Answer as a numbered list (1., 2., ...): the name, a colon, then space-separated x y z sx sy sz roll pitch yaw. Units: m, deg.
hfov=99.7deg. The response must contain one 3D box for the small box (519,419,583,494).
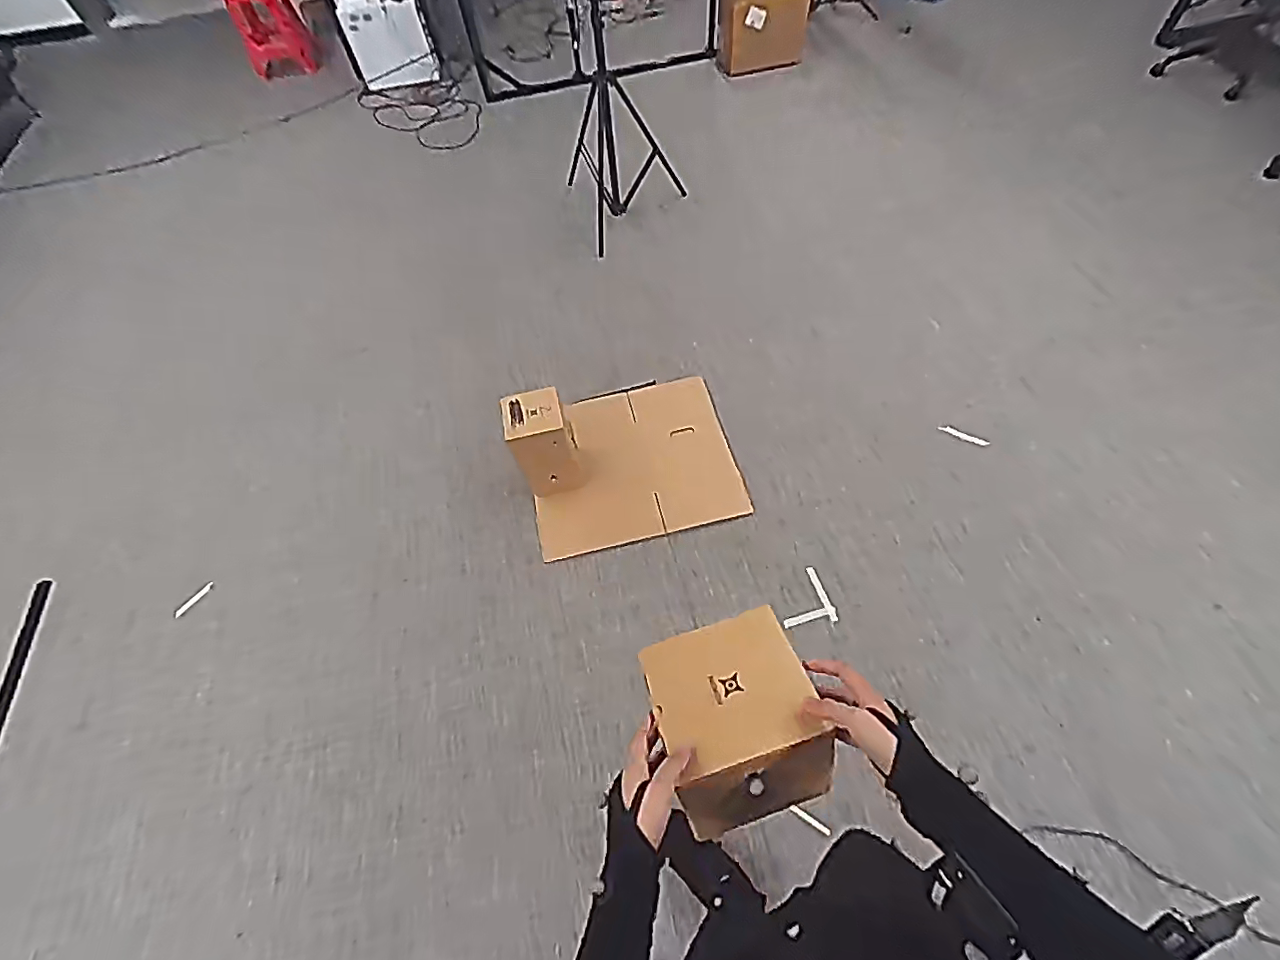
1. small box: -0.292 -0.075 1.810 0.179 0.176 0.168 -14 59 -2

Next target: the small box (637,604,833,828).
1. small box: 0.113 0.287 0.658 0.179 0.176 0.168 -20 41 -2
